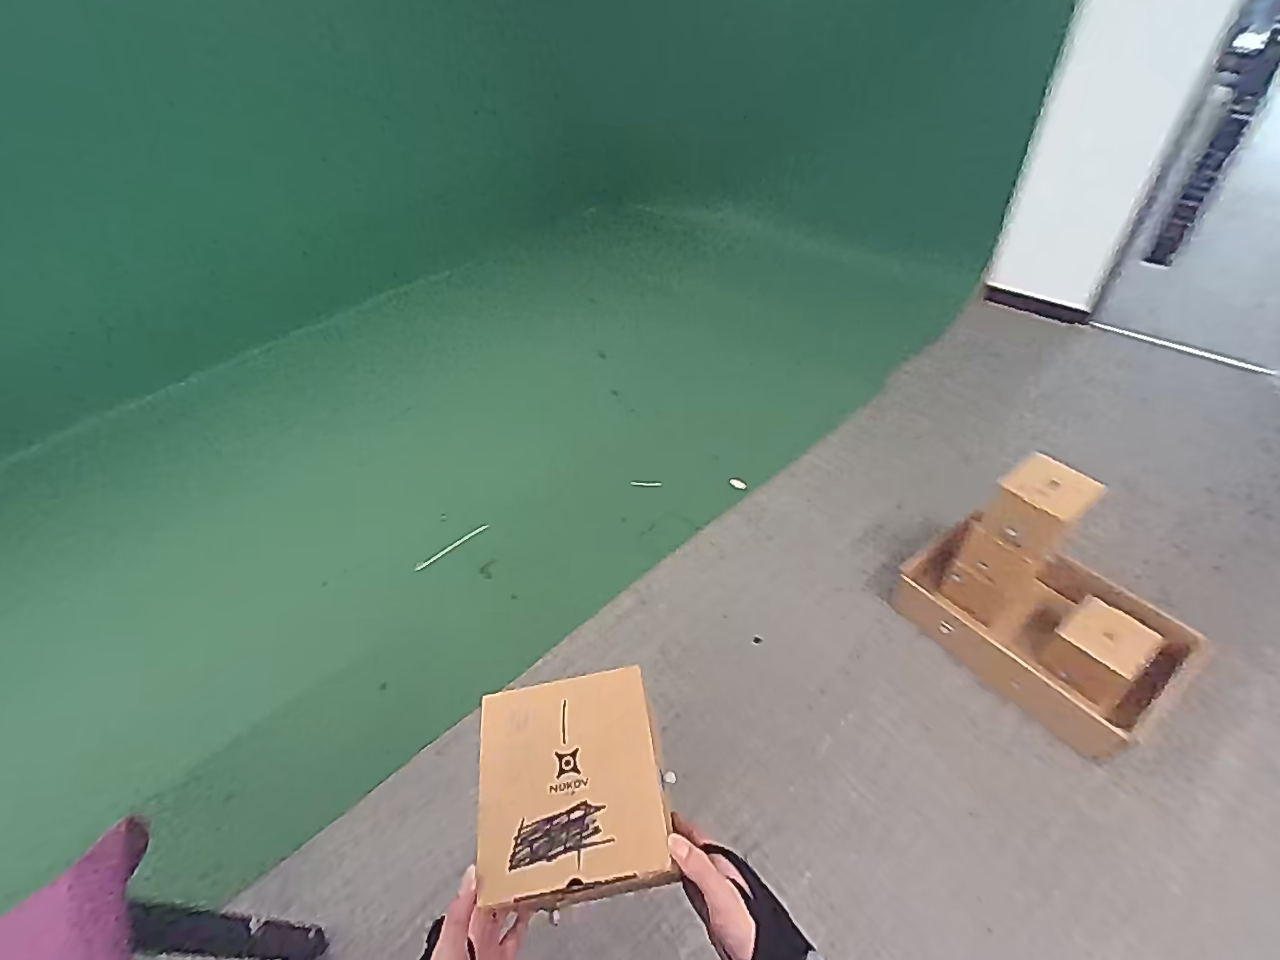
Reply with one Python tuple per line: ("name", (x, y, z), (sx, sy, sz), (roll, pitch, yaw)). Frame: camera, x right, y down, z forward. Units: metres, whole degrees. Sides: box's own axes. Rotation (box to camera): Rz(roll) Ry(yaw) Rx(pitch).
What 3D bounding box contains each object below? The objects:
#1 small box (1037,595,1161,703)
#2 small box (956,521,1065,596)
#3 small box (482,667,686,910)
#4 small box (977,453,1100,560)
("small box", (1.196, 0.446, 1.424), (0.179, 0.176, 0.168), (-32, 47, -19))
("small box", (1.012, 0.182, 1.489), (0.179, 0.176, 0.168), (-31, 49, -20))
("small box", (-0.051, 0.318, 0.554), (0.168, 0.176, 0.179), (-11, 50, 0))
("small box", (0.999, 0.068, 1.372), (0.179, 0.176, 0.168), (-31, 49, -19))
